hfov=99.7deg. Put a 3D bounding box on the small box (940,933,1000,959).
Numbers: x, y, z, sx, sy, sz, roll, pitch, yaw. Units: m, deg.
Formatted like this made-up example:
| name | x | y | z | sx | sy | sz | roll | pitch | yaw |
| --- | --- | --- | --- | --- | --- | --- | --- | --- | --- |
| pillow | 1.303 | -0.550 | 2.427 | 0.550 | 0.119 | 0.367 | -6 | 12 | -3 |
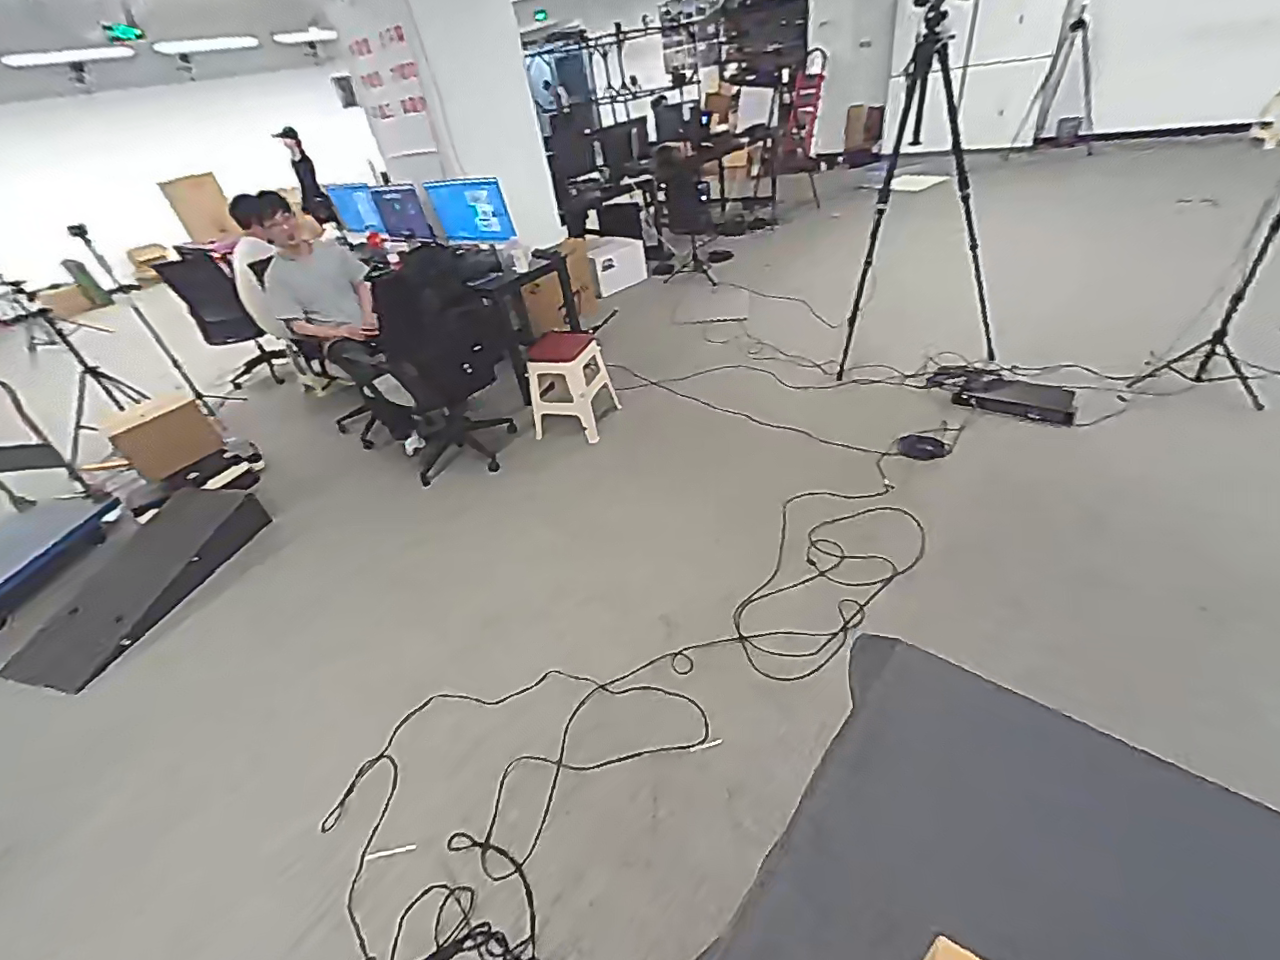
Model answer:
| name | x | y | z | sx | sy | sz | roll | pitch | yaw |
| --- | --- | --- | --- | --- | --- | --- | --- | --- | --- |
| small box | 0.264 | 0.474 | 0.365 | 0.168 | 0.176 | 0.179 | 16 | 43 | 30 |
